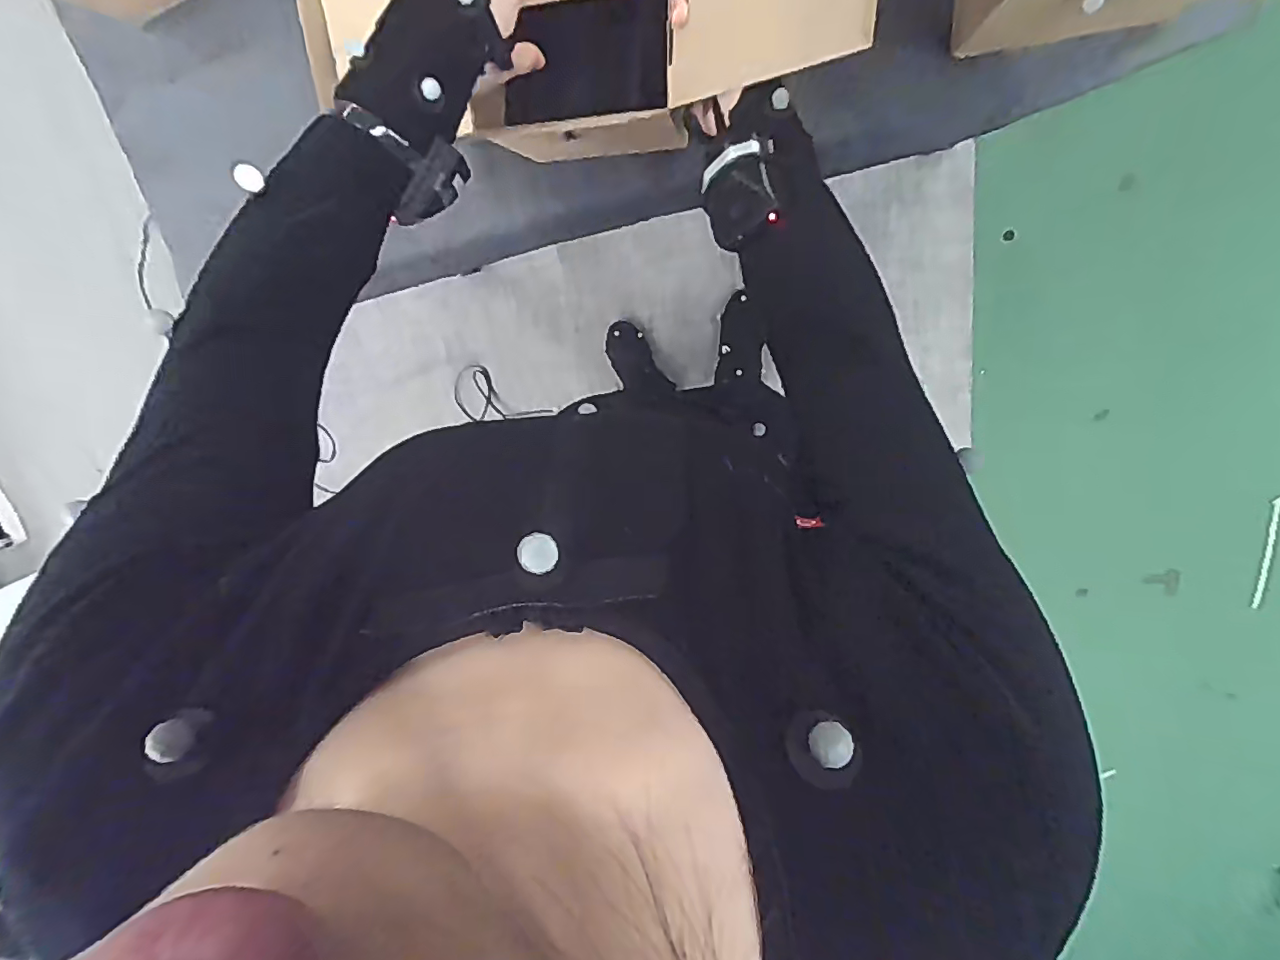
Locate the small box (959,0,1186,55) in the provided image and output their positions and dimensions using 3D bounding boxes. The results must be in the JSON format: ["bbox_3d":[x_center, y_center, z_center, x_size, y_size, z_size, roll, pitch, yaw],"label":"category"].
[{"bbox_3d":[0.358,-0.450,0.397,0.179,0.176,0.168,-2,110,13],"label":"small box"}]
